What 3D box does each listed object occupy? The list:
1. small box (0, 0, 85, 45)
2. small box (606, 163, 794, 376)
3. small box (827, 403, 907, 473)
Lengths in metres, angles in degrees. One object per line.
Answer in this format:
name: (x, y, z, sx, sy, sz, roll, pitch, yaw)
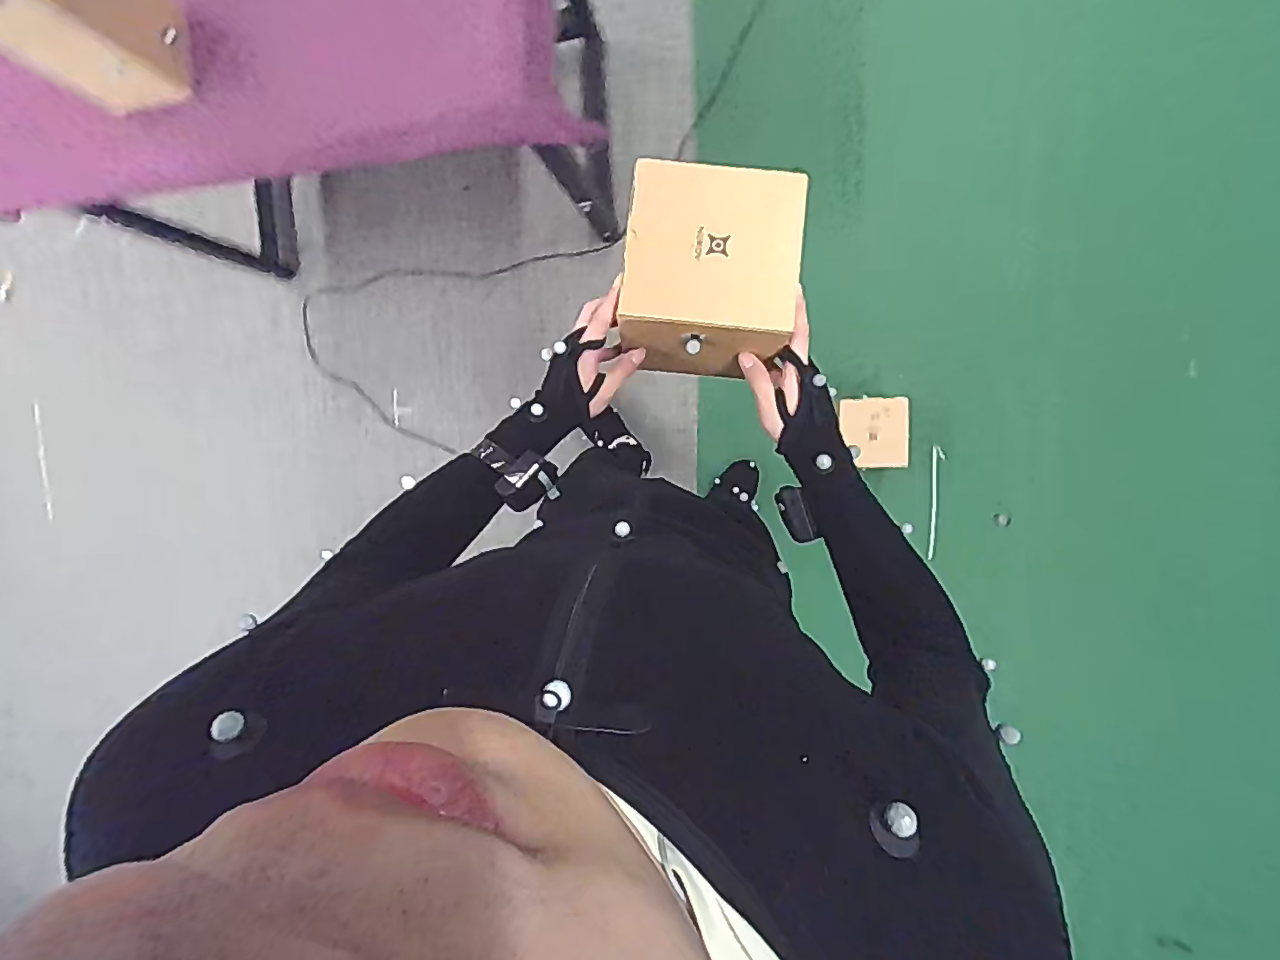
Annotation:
small box: (-0.954, -0.778, 0.777, 0.179, 0.176, 0.168, -1, 93, 10)
small box: (0.063, -0.223, 0.613, 0.179, 0.176, 0.168, 5, 84, 3)
small box: (0.599, -0.112, 1.440, 0.168, 0.176, 0.179, 0, 94, 10)
